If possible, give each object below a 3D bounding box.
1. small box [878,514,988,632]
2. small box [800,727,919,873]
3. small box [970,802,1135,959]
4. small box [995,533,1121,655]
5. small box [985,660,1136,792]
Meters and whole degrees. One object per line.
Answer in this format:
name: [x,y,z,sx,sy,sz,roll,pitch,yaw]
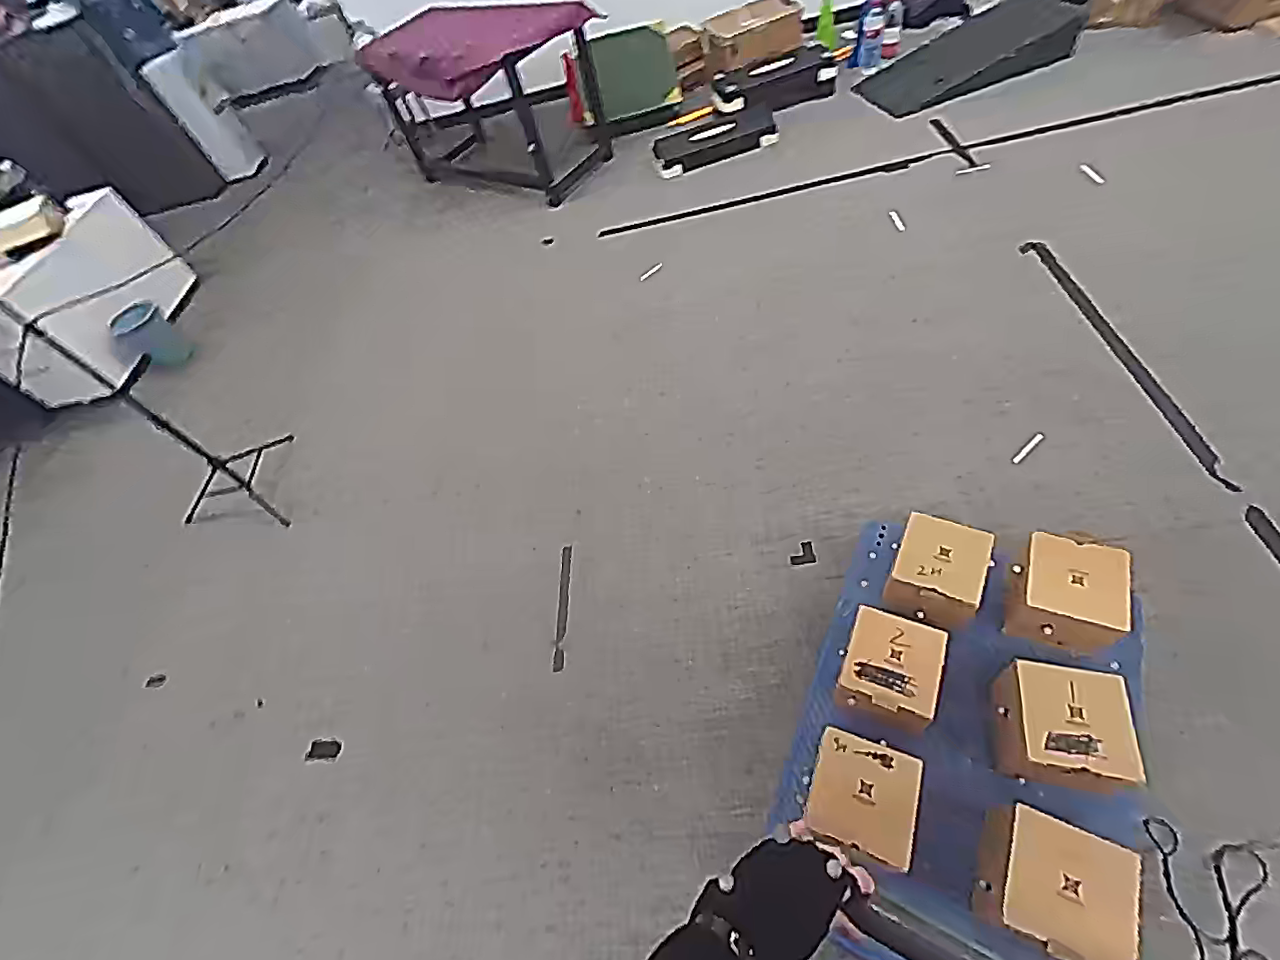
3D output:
small box: [0.646,0.210,1.208,0.168,0.176,0.179,18,62,25]
small box: [0.399,0.590,1.001,0.168,0.176,0.179,14,60,22]
small box: [0.663,0.664,0.884,0.168,0.176,0.179,17,61,24]
small box: [0.867,0.242,1.133,0.168,0.176,0.179,14,60,22]
small box: [0.763,0.459,1.004,0.168,0.176,0.179,6,56,18]
